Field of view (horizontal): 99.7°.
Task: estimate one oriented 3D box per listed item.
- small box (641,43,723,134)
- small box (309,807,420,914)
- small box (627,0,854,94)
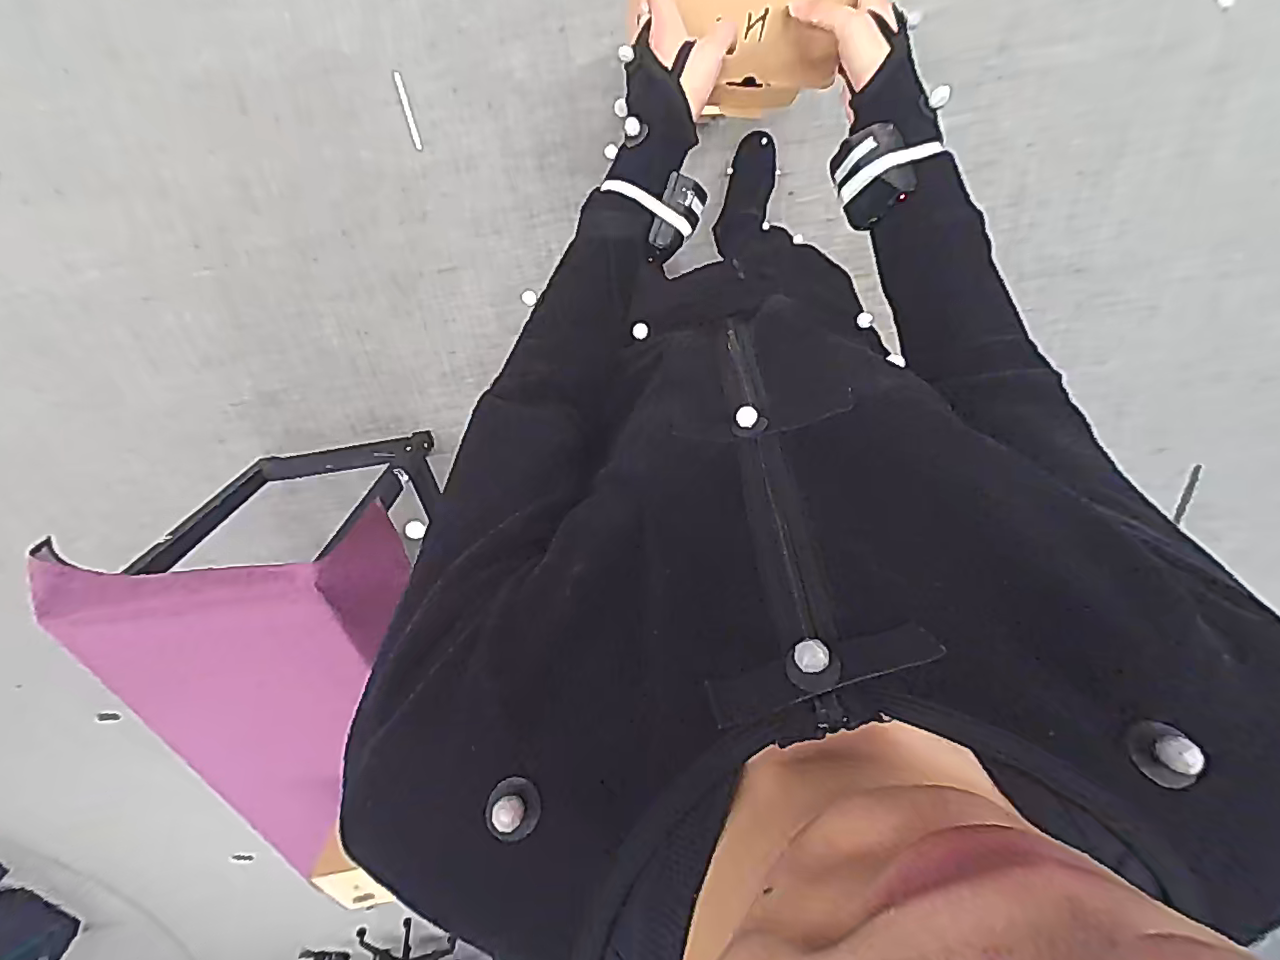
[{"bbox_3d":[0.091,-0.867,1.185,0.168,0.176,0.179,-5,120,1],"label":"small box"},{"bbox_3d":[-0.720,1.008,1.437,0.168,0.176,0.179,-18,119,9],"label":"small box"},{"bbox_3d":[0.087,-0.471,0.471,0.168,0.176,0.179,-5,142,-11],"label":"small box"}]
